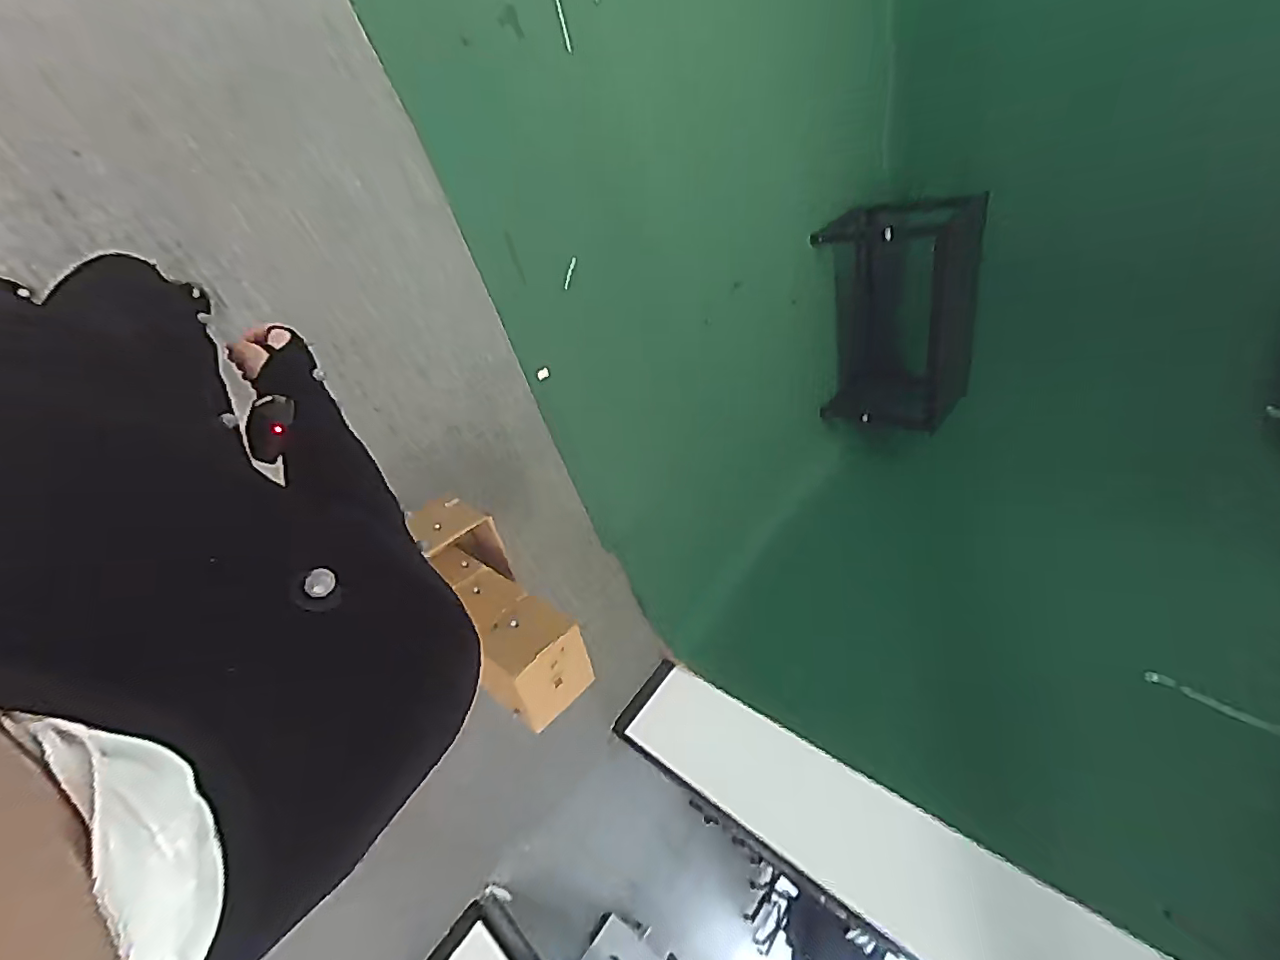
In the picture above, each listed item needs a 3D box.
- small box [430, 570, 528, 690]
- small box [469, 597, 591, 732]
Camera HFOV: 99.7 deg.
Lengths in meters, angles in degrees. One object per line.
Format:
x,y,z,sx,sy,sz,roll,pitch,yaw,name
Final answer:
-0.353,0.339,1.253,0.168,0.176,0.179,-36,128,-34,small box
-0.232,0.383,1.149,0.168,0.176,0.179,-35,128,-35,small box
